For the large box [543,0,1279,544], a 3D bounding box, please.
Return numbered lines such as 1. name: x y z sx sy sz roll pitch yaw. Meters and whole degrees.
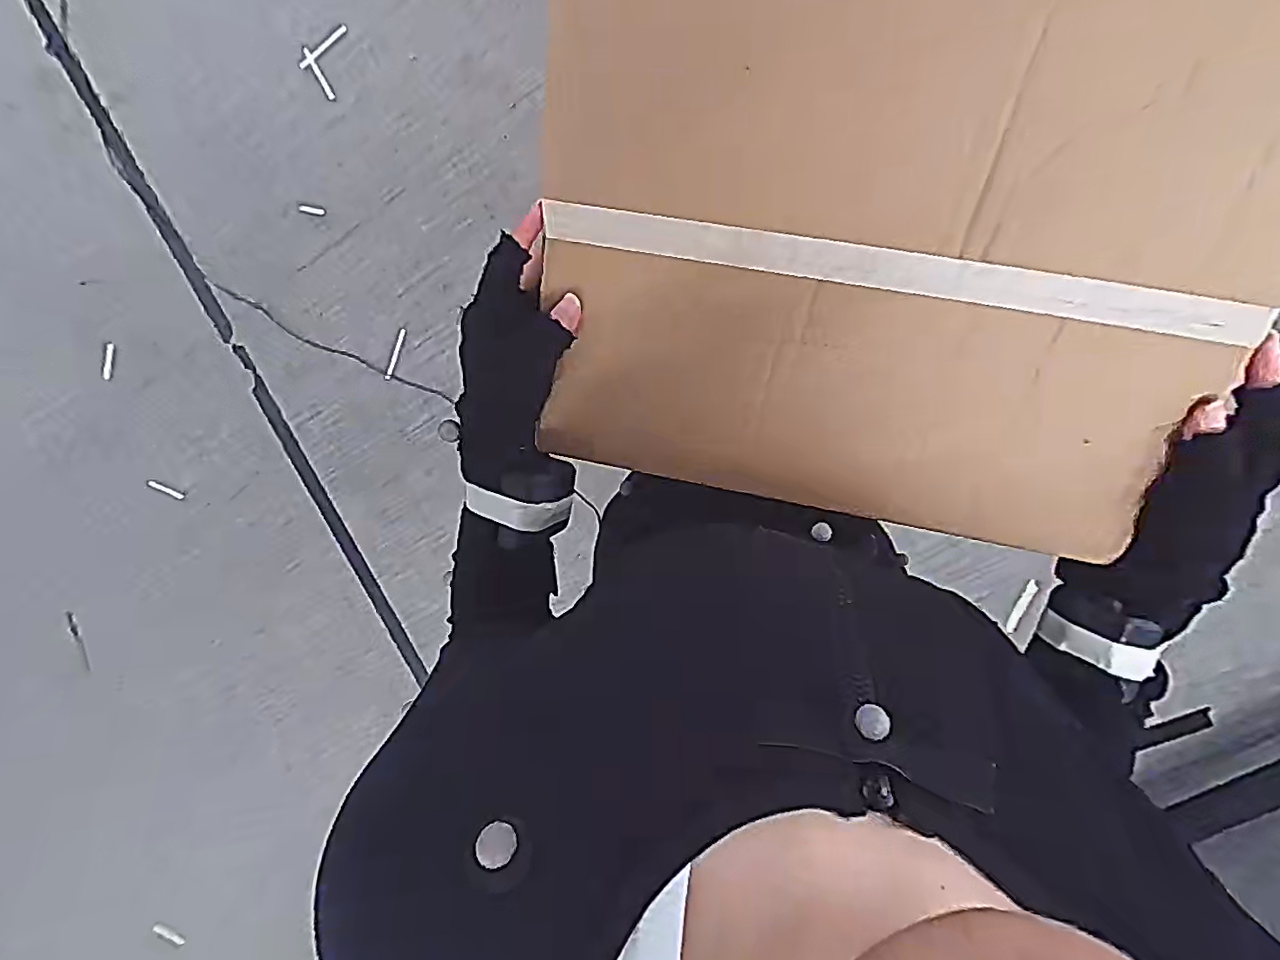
1. large box: 0.162 -0.189 0.452 0.408 0.320 0.320 12 118 5
